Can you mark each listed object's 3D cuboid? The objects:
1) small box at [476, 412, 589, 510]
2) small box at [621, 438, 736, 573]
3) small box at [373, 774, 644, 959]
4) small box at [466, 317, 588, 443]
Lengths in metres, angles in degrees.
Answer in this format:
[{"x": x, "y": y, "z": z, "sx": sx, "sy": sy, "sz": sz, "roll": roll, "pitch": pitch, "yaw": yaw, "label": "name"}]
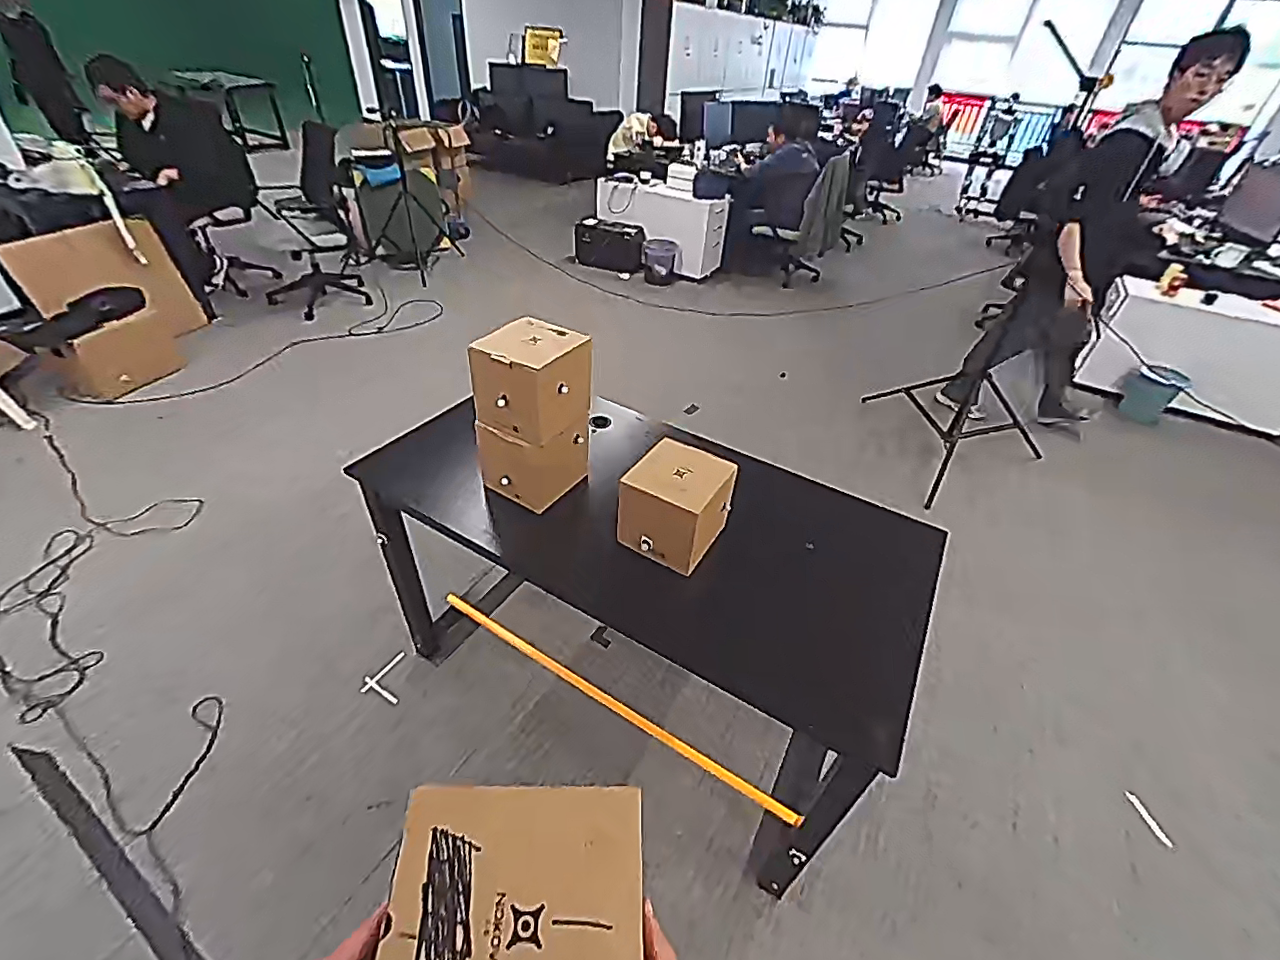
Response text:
[{"x": -0.229, "y": -0.067, "z": 1.175, "sx": 0.168, "sy": 0.176, "sz": 0.179, "roll": 24, "pitch": 43, "yaw": 22, "label": "small box"}, {"x": 0.071, "y": 0.049, "z": 1.072, "sx": 0.168, "sy": 0.176, "sz": 0.179, "roll": 22, "pitch": 43, "yaw": 21, "label": "small box"}, {"x": -0.091, "y": 0.344, "z": 0.425, "sx": 0.179, "sy": 0.176, "sz": 0.168, "roll": 3, "pitch": 48, "yaw": -5, "label": "small box"}, {"x": -0.215, "y": -0.199, "z": 1.078, "sx": 0.168, "sy": 0.176, "sz": 0.179, "roll": 23, "pitch": 43, "yaw": 20, "label": "small box"}]
